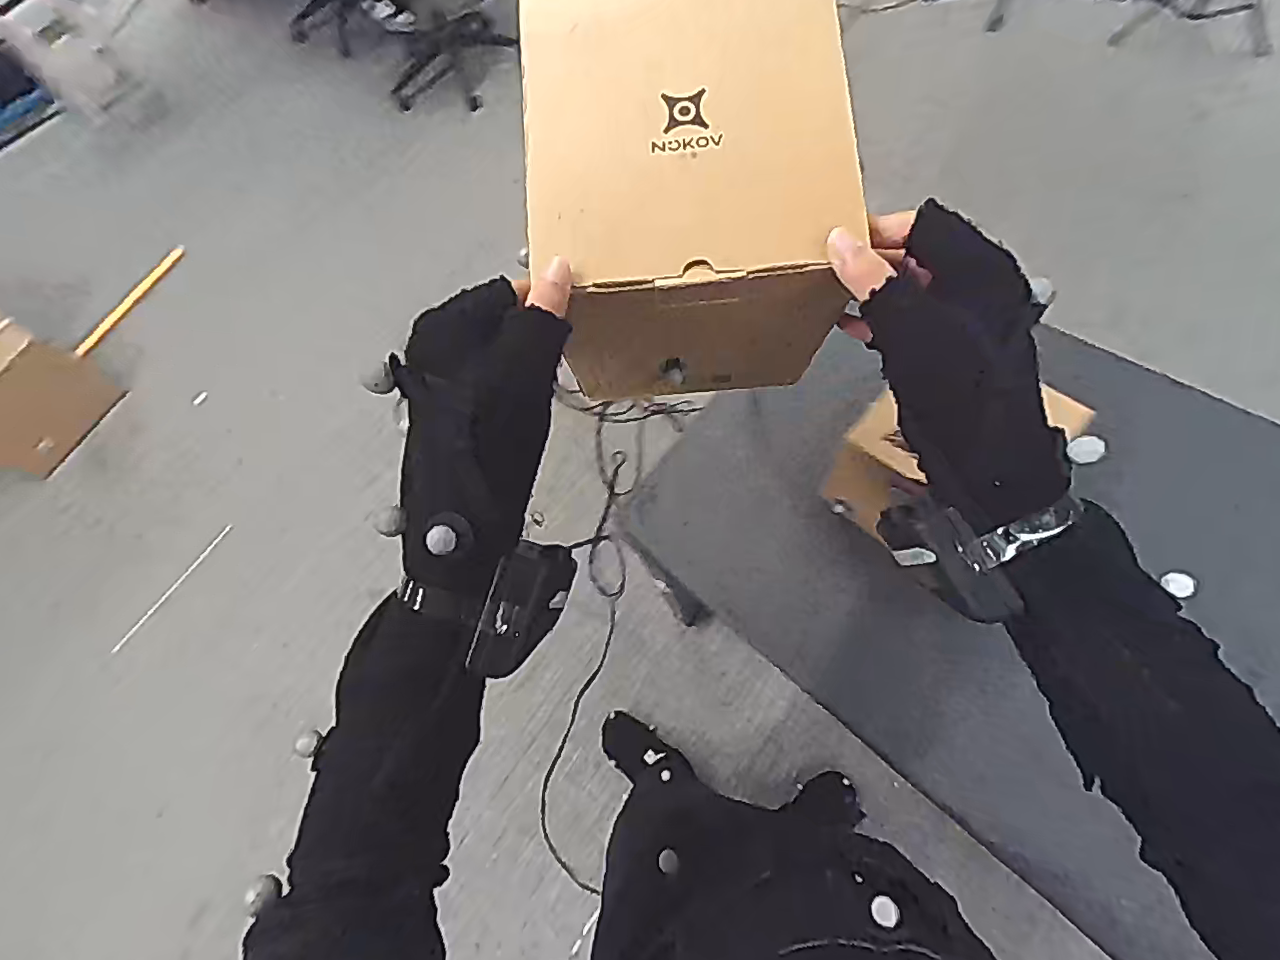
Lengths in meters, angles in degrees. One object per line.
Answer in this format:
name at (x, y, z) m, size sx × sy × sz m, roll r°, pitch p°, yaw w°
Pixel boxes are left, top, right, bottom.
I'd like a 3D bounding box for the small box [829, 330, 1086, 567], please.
small box at (0.339, -0.026, 0.619) m, size 0.168 × 0.176 × 0.179 m, roll 40°, pitch 78°, yaw 21°
